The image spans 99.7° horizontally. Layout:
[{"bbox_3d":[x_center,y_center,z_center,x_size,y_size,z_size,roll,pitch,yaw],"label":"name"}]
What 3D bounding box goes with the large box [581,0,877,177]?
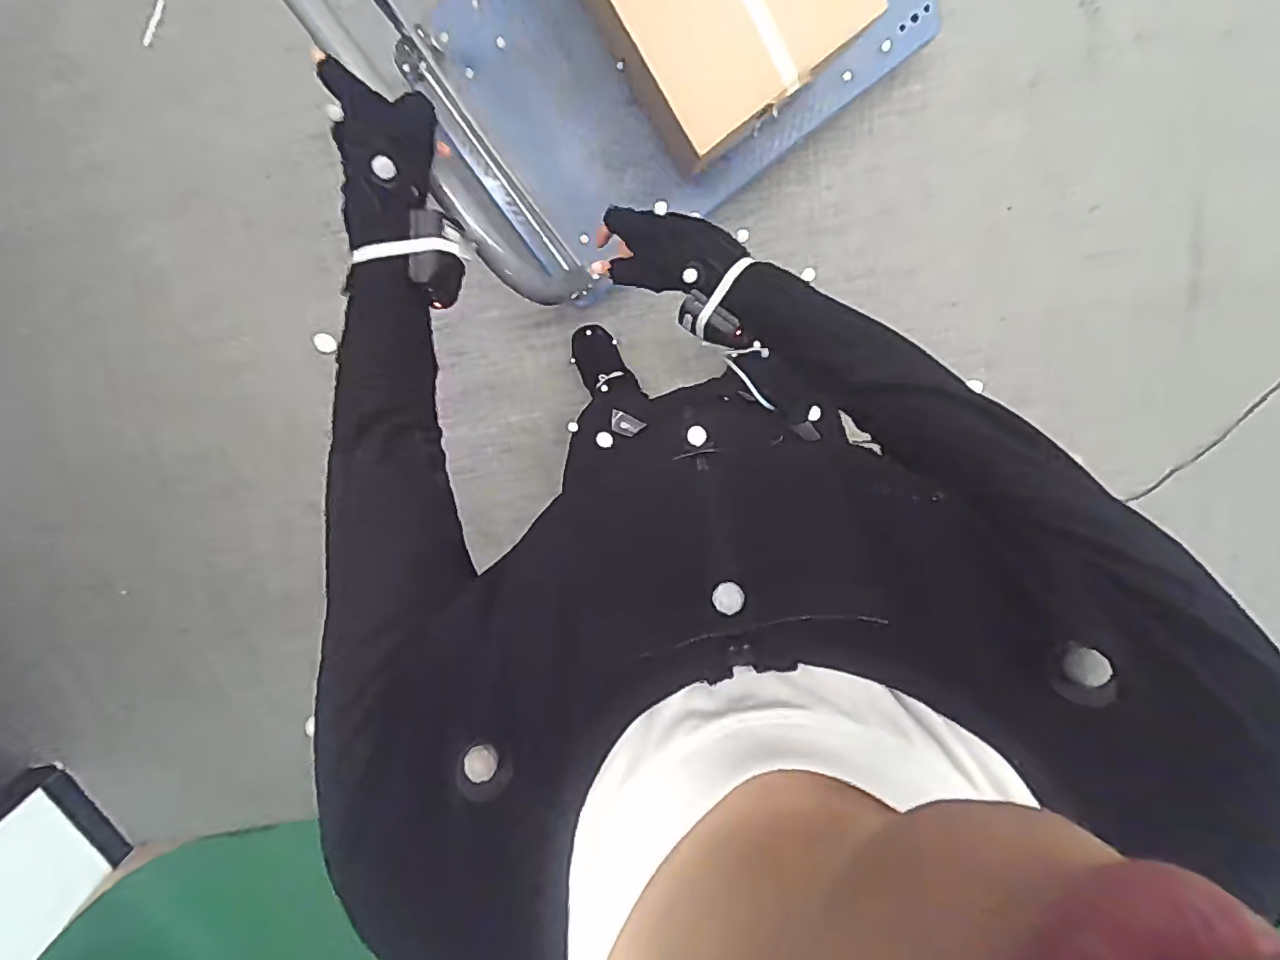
[{"bbox_3d":[0.100,-0.780,0.864,0.320,0.320,0.408,-32,108,13],"label":"large box"}]
